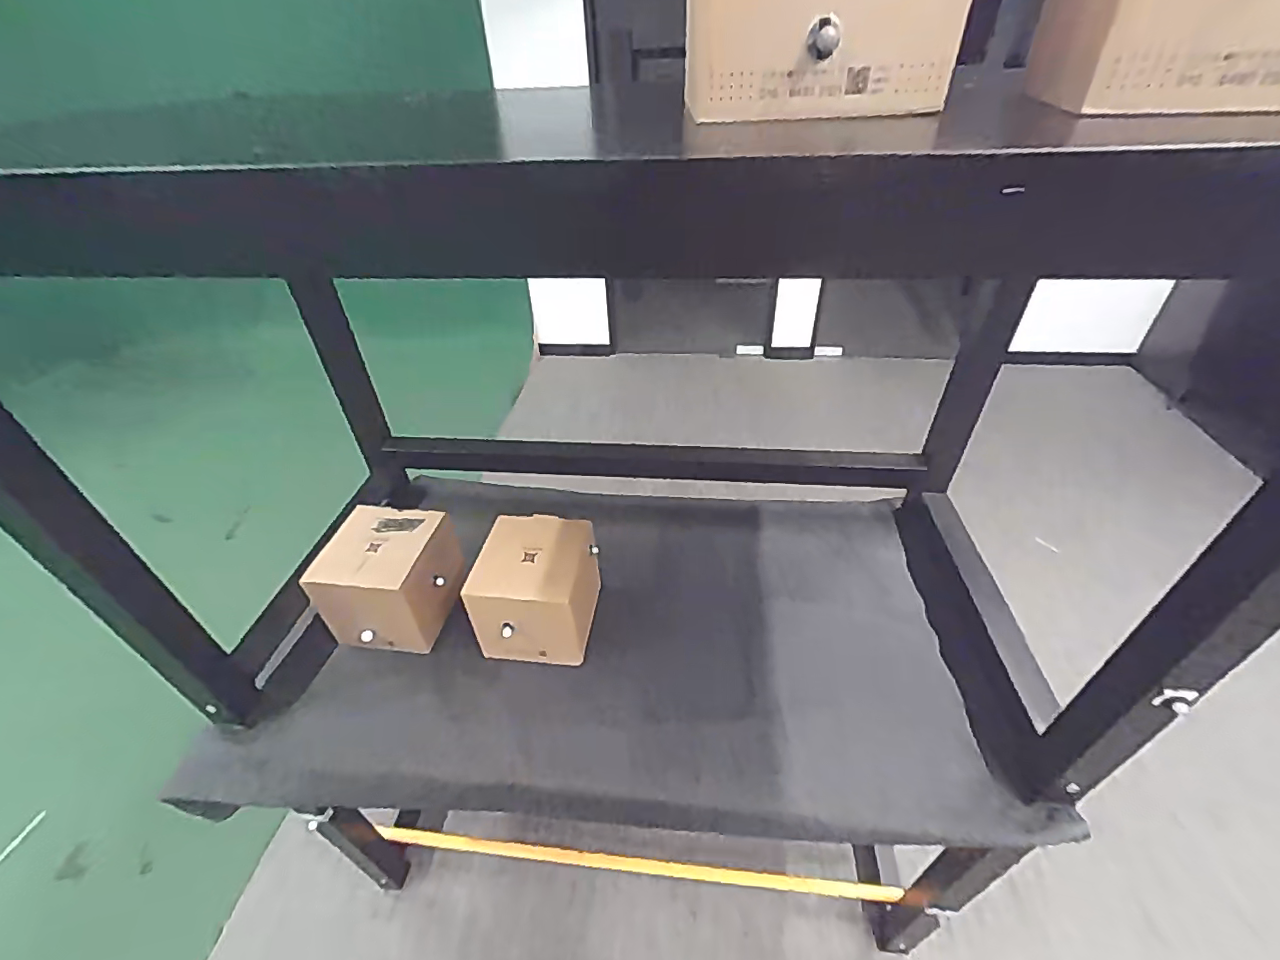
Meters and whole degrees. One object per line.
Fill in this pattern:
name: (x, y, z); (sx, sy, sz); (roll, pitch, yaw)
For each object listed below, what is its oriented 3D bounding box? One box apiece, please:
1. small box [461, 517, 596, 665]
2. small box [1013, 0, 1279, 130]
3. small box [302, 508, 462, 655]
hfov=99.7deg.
small box: (-0.171, 0.184, 0.899); (0.168, 0.176, 0.179); (3, 39, 7)
small box: (0.358, -0.316, 0.321); (0.168, 0.176, 0.179); (10, 40, 15)
small box: (-0.422, 0.171, 0.925); (0.168, 0.176, 0.179); (3, 40, 7)
